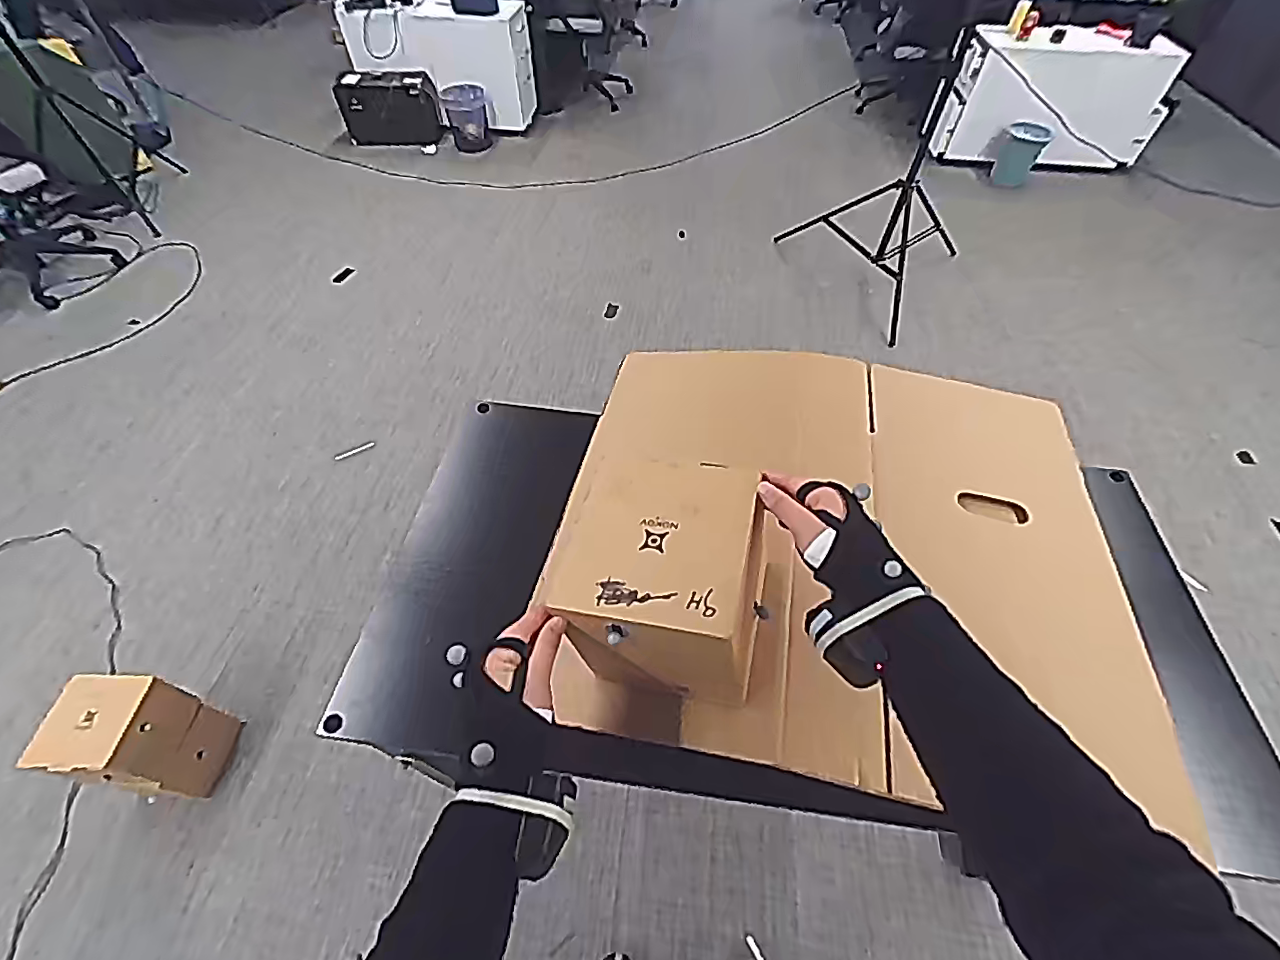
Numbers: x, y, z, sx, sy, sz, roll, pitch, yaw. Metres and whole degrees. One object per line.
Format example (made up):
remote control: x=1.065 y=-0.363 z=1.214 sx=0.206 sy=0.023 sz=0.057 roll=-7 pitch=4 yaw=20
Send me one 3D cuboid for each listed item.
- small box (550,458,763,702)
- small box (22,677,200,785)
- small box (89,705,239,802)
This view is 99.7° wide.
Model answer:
small box: x=0.033 y=0.101 z=0.556 sx=0.168 sy=0.176 sz=0.179 roll=4 pitch=52 yaw=19
small box: x=-1.080 y=0.526 z=1.127 sx=0.168 sy=0.176 sz=0.179 roll=1 pitch=52 yaw=-2
small box: x=-1.081 y=0.630 z=1.253 sx=0.168 sy=0.176 sz=0.179 roll=3 pitch=53 yaw=1
